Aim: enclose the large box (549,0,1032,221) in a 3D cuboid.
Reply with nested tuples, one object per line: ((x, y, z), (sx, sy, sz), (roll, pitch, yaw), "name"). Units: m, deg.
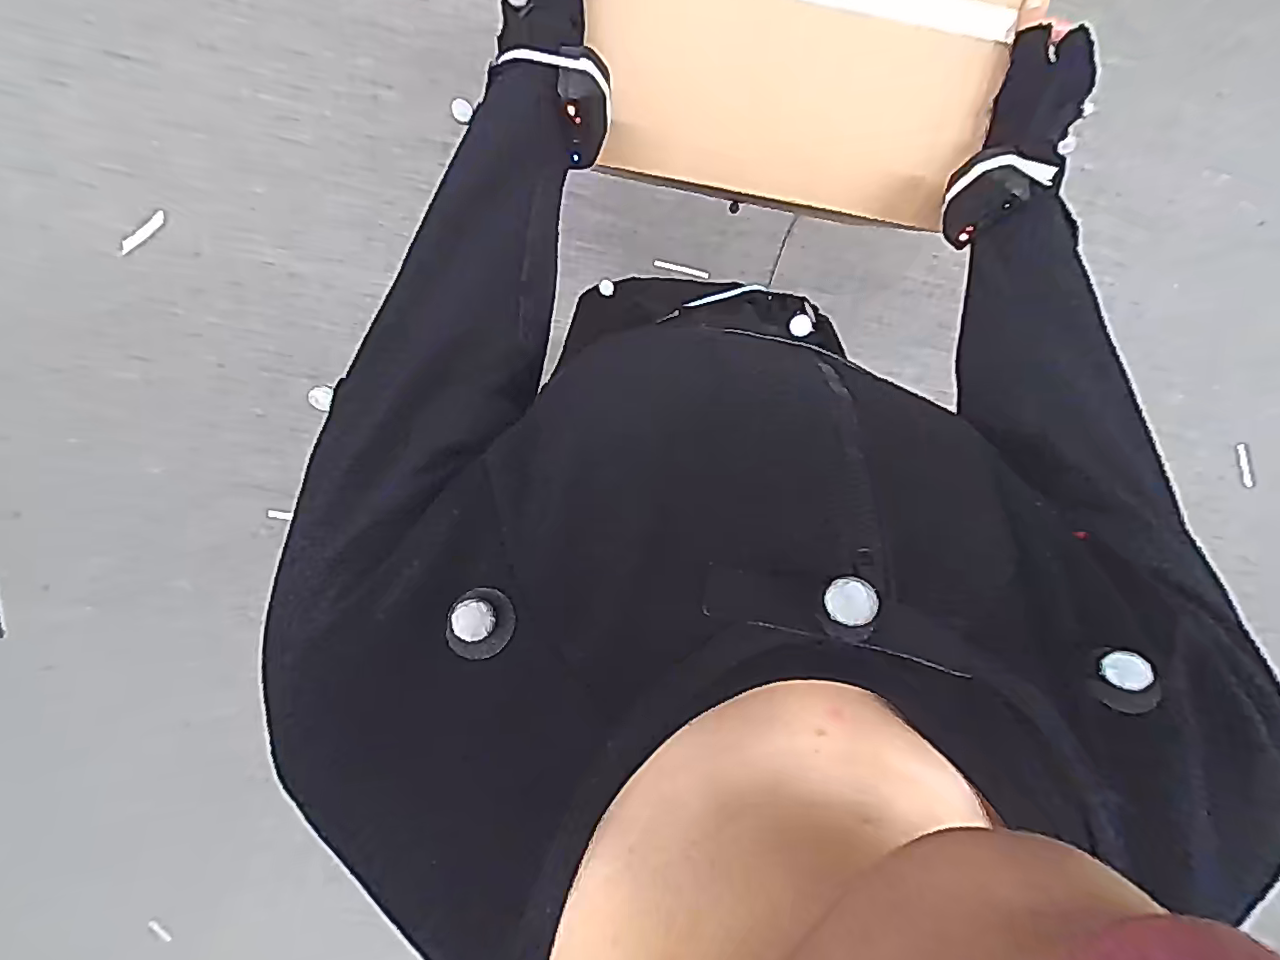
((0.142, -0.490, 0.591), (0.408, 0.320, 0.320), (11, 116, -2), "large box")
